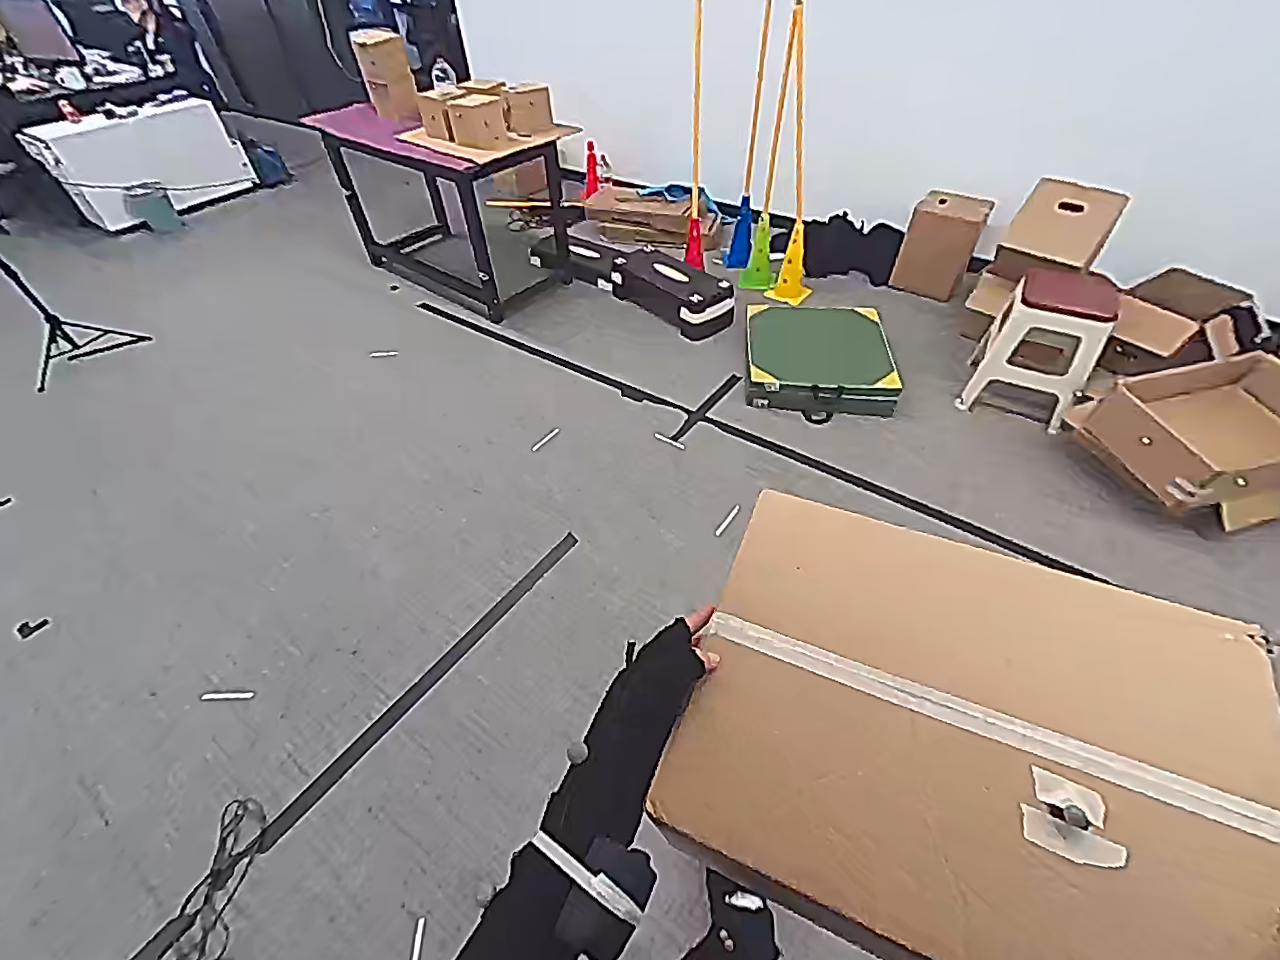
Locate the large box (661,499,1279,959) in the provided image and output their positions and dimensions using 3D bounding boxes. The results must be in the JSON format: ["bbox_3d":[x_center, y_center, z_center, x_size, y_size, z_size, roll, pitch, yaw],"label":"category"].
[{"bbox_3d":[0.265,0.273,0.547,0.408,0.320,0.320,17,57,19],"label":"large box"}]
